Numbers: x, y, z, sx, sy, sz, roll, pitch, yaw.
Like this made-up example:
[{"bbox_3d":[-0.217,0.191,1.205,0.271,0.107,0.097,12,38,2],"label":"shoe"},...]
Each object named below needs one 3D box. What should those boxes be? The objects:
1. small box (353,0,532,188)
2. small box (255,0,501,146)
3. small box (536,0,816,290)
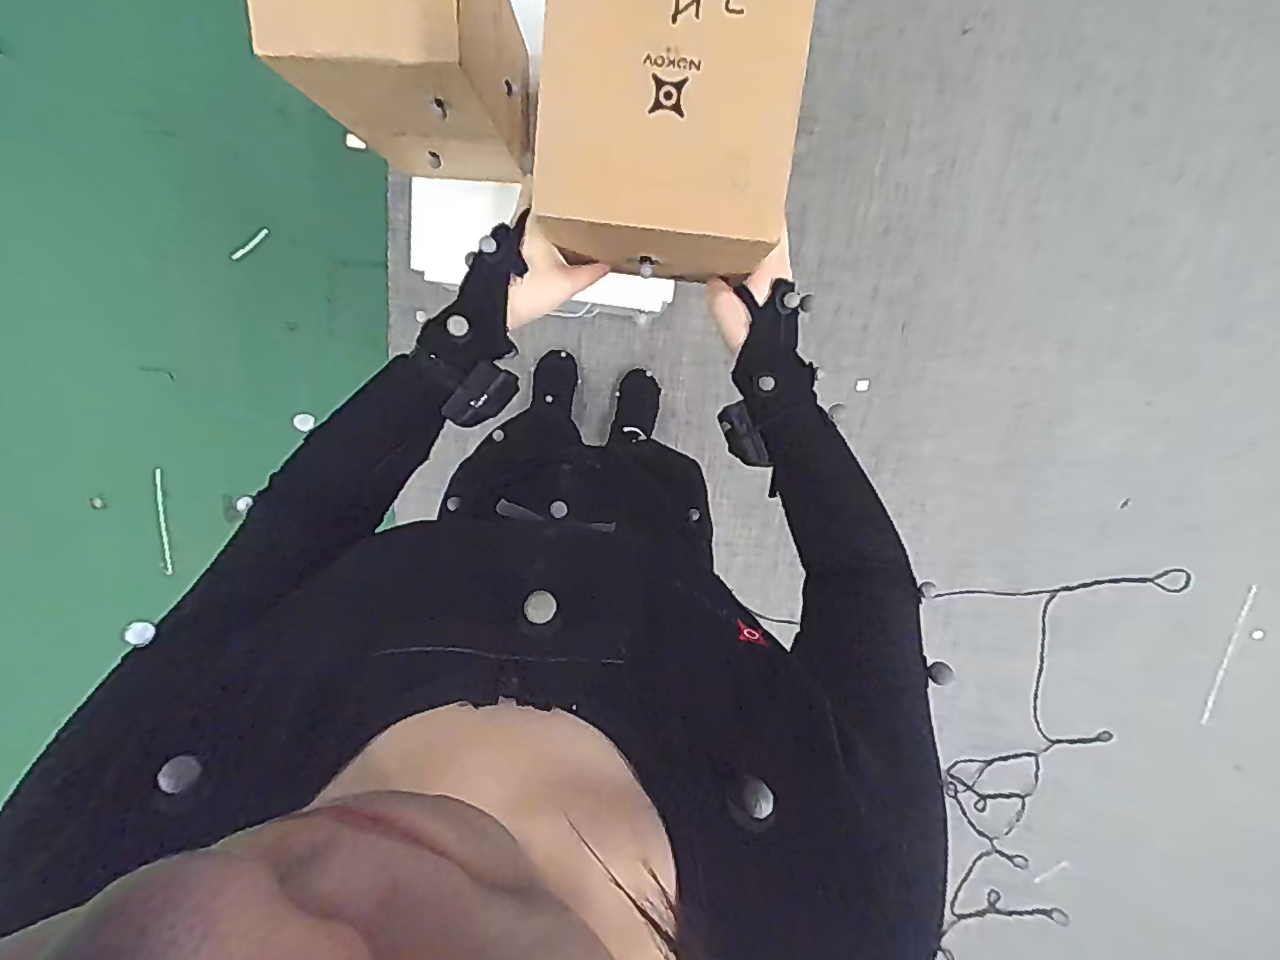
[{"bbox_3d":[-0.240,-0.483,0.682,0.179,0.176,0.168,2,104,-2],"label":"small box"},{"bbox_3d":[-0.236,-0.445,0.524,0.179,0.176,0.168,1,103,-2],"label":"small box"},{"bbox_3d":[0.022,-0.258,0.427,0.168,0.176,0.179,7,99,-1],"label":"small box"}]
